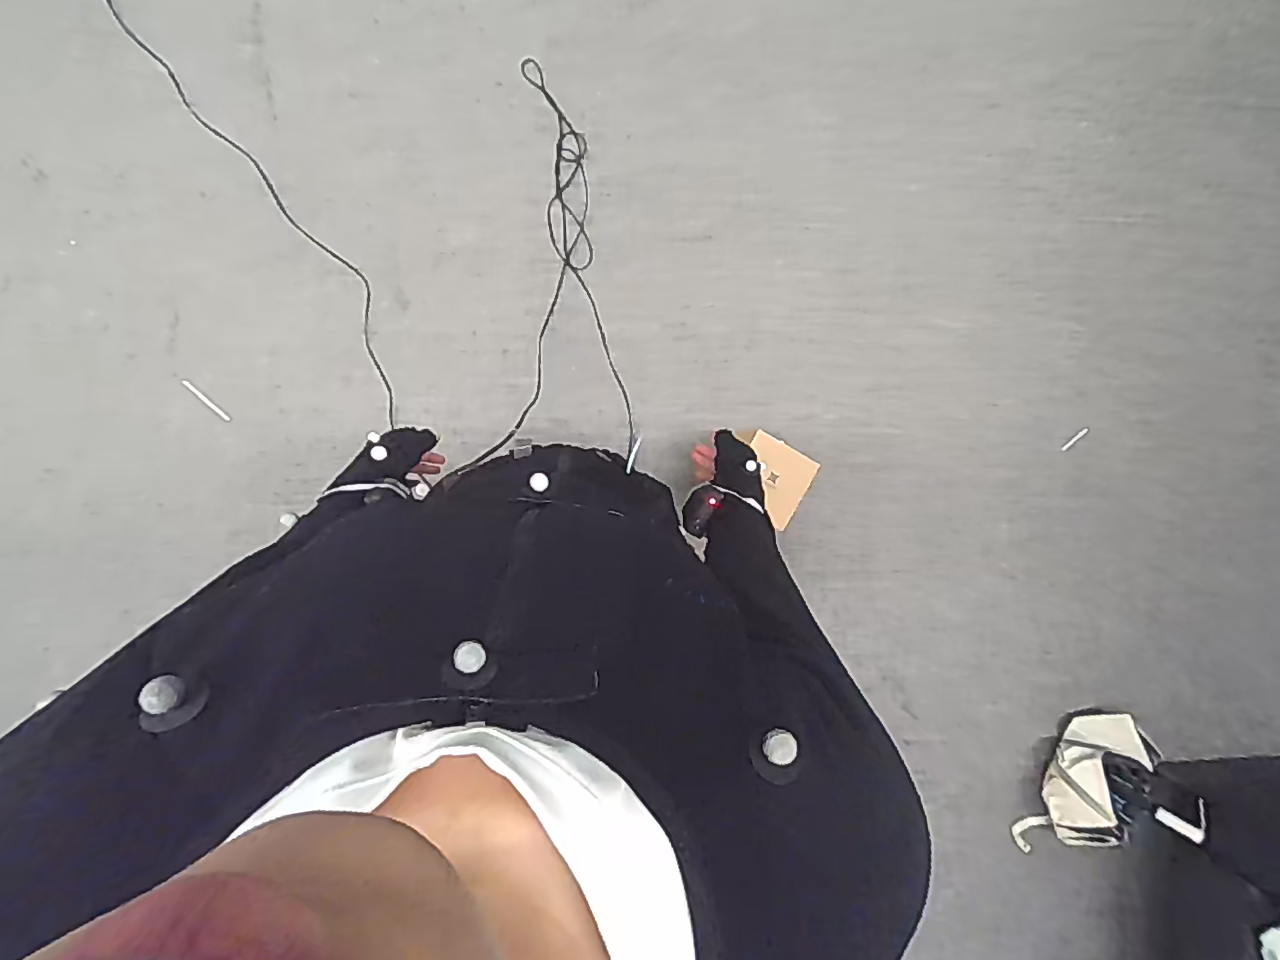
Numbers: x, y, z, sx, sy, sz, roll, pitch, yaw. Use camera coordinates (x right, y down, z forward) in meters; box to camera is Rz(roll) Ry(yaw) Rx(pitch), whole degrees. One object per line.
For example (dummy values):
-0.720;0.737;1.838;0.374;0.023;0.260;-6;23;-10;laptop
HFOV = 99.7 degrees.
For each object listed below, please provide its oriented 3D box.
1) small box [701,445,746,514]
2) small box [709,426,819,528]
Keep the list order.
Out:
0.260;-0.008;1.423;0.179;0.176;0.168;-5;95;-6;small box
0.281;-0.012;1.275;0.168;0.176;0.179;29;92;-7;small box
